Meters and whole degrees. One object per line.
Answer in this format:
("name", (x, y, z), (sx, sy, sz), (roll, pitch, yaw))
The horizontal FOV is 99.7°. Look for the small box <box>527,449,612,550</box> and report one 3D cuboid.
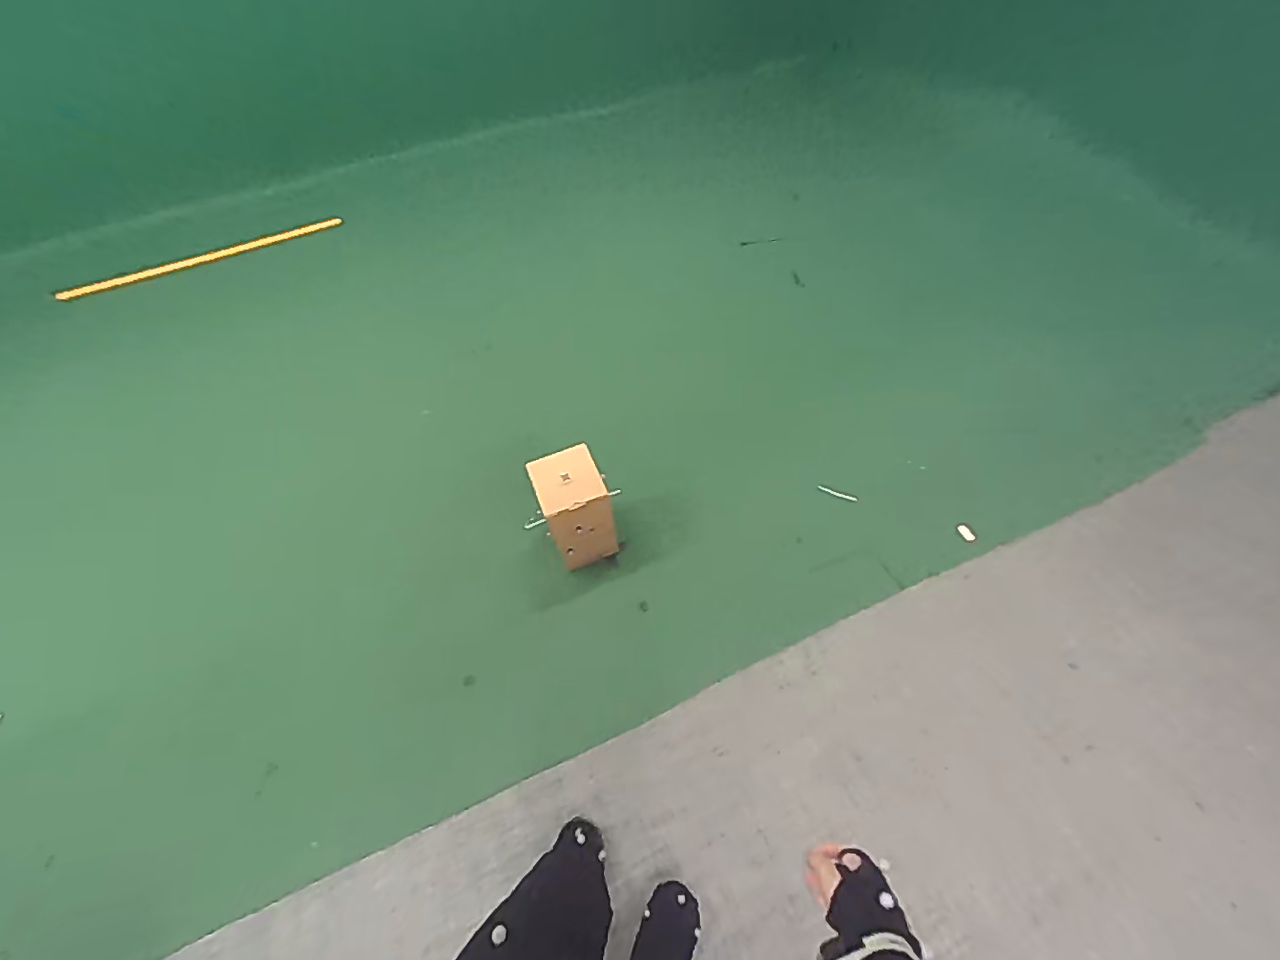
("small box", (-0.182, 0.053, 1.423), (0.168, 0.176, 0.179), (-21, 57, -11))
